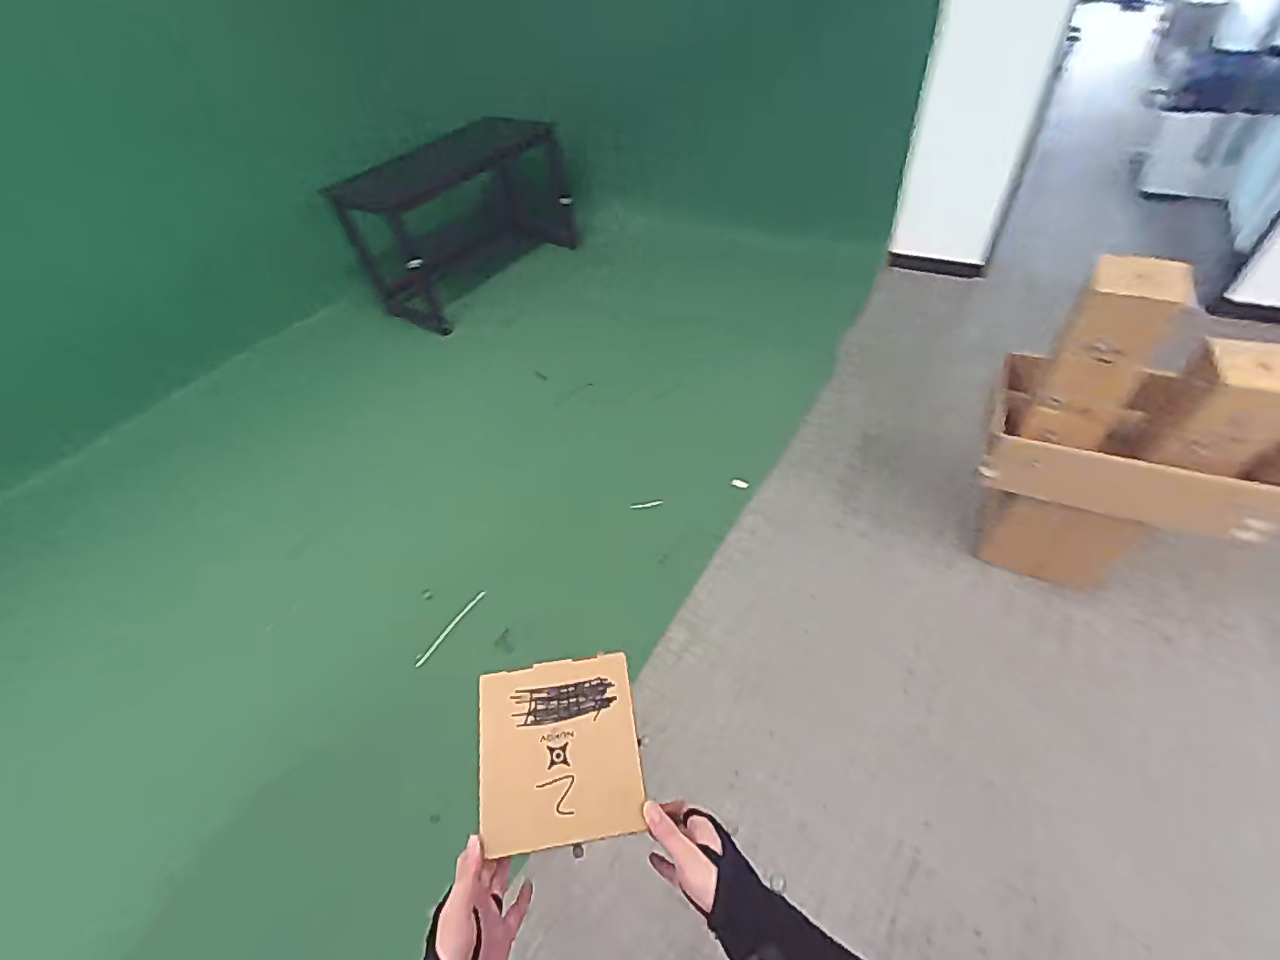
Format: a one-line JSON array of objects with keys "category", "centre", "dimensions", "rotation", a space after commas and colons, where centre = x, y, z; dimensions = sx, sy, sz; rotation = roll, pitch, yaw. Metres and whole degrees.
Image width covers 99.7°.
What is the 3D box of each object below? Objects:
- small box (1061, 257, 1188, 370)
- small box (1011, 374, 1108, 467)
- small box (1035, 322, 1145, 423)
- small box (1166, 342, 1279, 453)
[{"category": "small box", "centre": [1.103, -0.383, 1.240], "dimensions": [0.168, 0.176, 0.179], "rotation": [20, 54, 26]}, {"category": "small box", "centre": [1.140, -0.160, 1.478], "dimensions": [0.168, 0.176, 0.179], "rotation": [16, 52, 22]}, {"category": "small box", "centre": [1.122, -0.270, 1.357], "dimensions": [0.168, 0.176, 0.179], "rotation": [20, 53, 24]}, {"category": "small box", "centre": [1.368, -0.187, 1.240], "dimensions": [0.168, 0.176, 0.179], "rotation": [15, 52, 20]}]
